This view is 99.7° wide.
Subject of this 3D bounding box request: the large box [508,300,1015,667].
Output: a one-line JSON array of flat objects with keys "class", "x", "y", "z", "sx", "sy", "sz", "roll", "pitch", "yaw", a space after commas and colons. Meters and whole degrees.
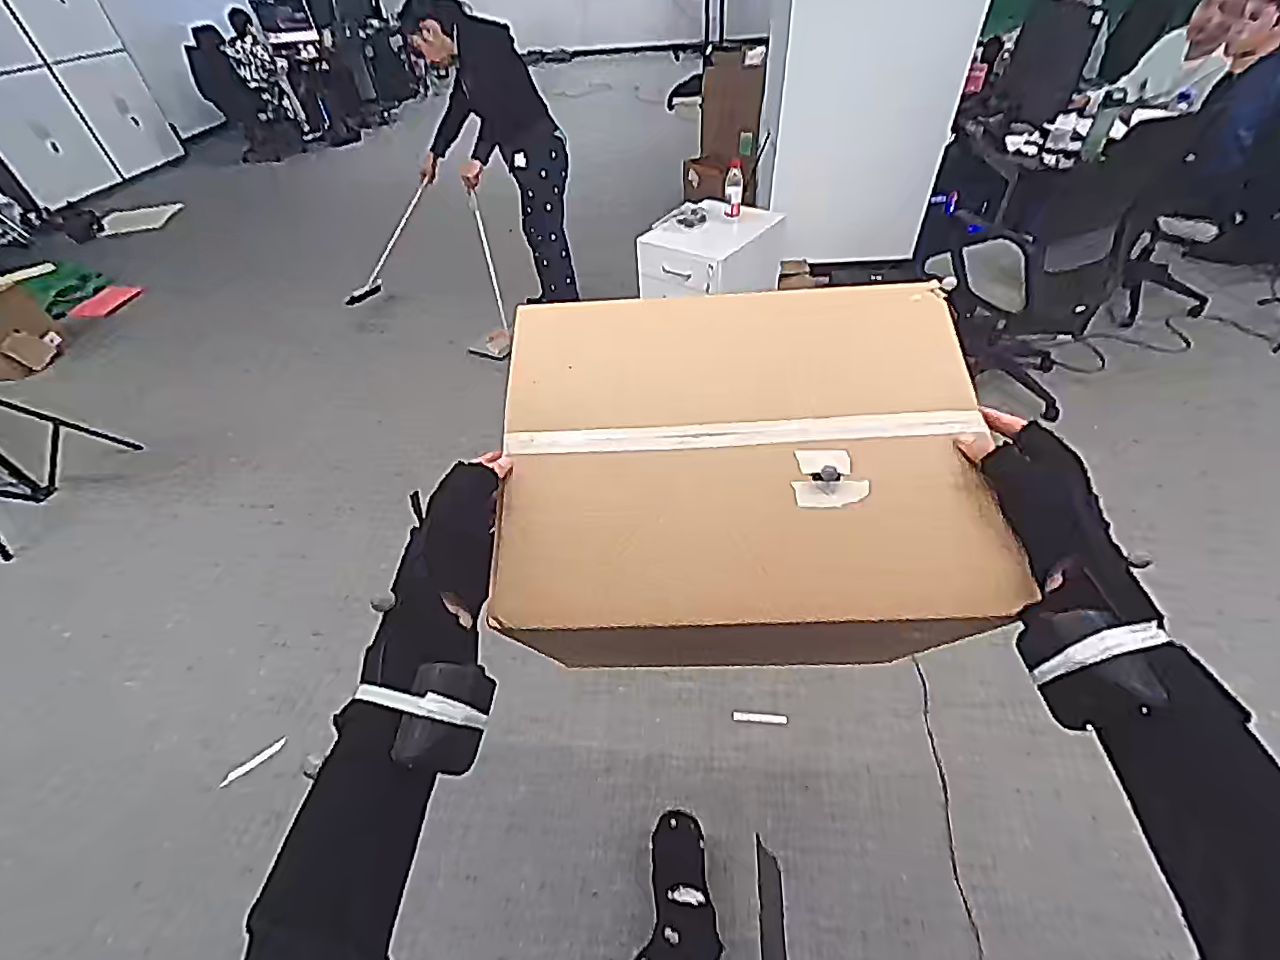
[{"class": "large box", "x": 0.095, "y": 0.031, "z": 0.616, "sx": 0.408, "sy": 0.320, "sz": 0.320, "roll": -2, "pitch": 67, "yaw": 3}]
